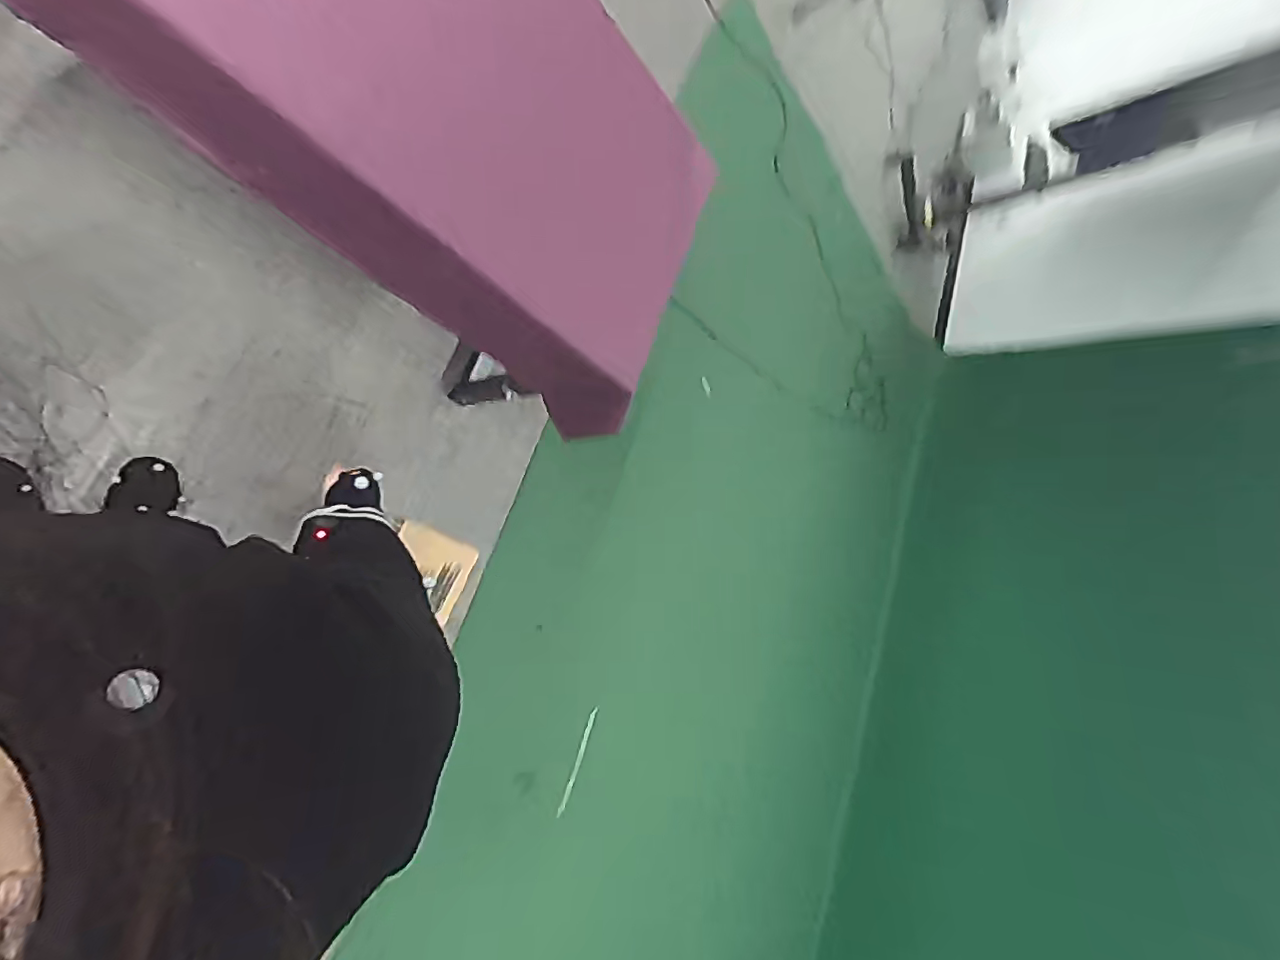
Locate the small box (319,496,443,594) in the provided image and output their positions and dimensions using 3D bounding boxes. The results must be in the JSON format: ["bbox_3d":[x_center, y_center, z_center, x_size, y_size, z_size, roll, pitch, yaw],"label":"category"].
[{"bbox_3d":[-0.593,0.143,1.233,0.179,0.176,0.168,34,70,-42],"label":"small box"}]

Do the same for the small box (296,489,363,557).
[{"bbox_3d":[-0.713,0.131,1.343,0.179,0.176,0.168,37,67,-40],"label":"small box"}]
